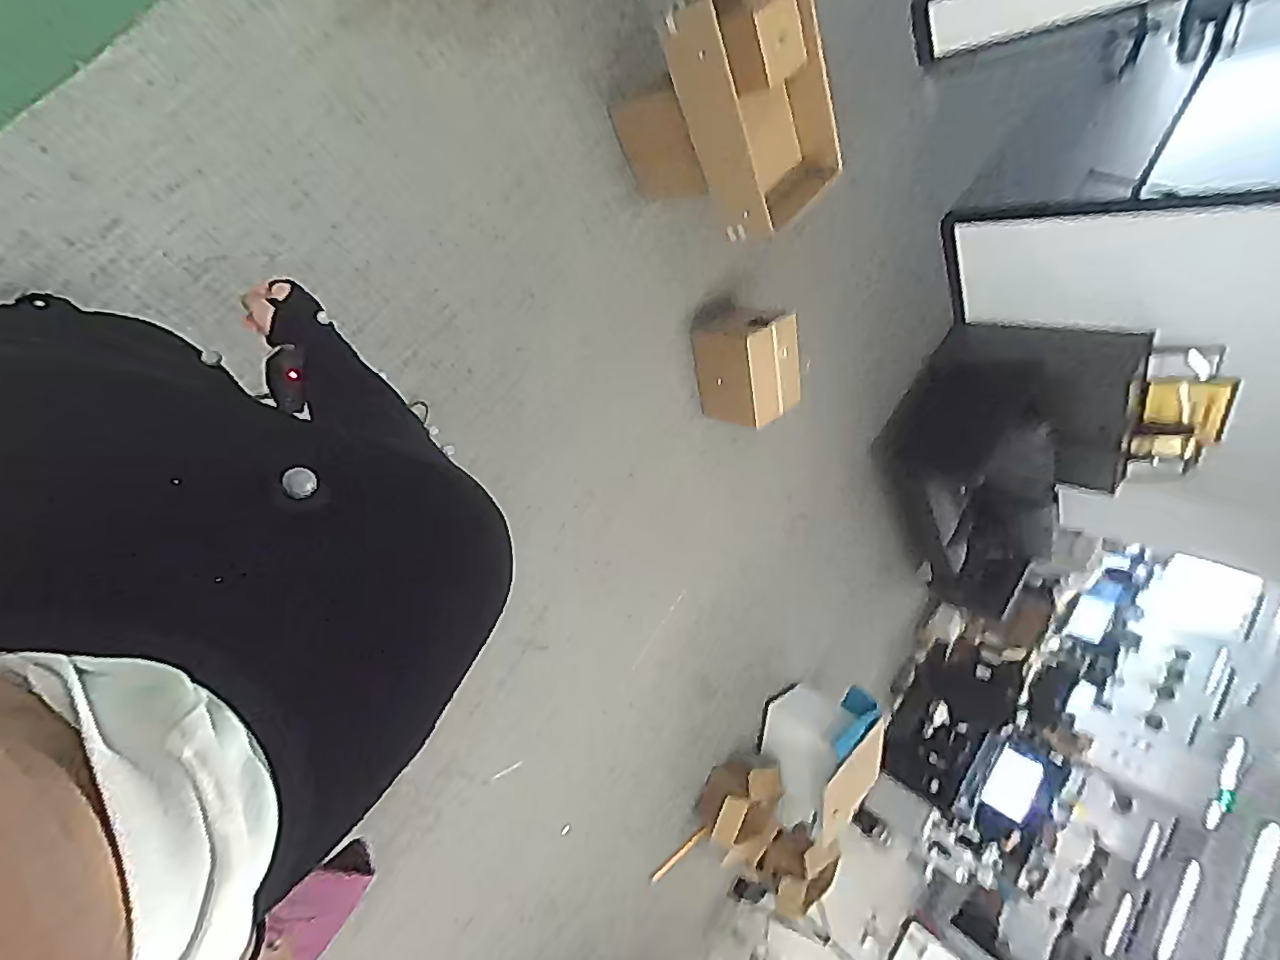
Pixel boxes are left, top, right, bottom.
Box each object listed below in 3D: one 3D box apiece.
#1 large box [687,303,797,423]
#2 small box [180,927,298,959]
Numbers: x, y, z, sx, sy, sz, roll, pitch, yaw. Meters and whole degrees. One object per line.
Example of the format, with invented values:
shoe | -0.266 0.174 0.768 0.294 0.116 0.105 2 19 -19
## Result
large box | 0.441 -0.509 2.320 0.320 0.320 0.408 -34 126 -29
small box | -0.684 0.877 0.881 0.179 0.176 0.168 -53 133 -12
